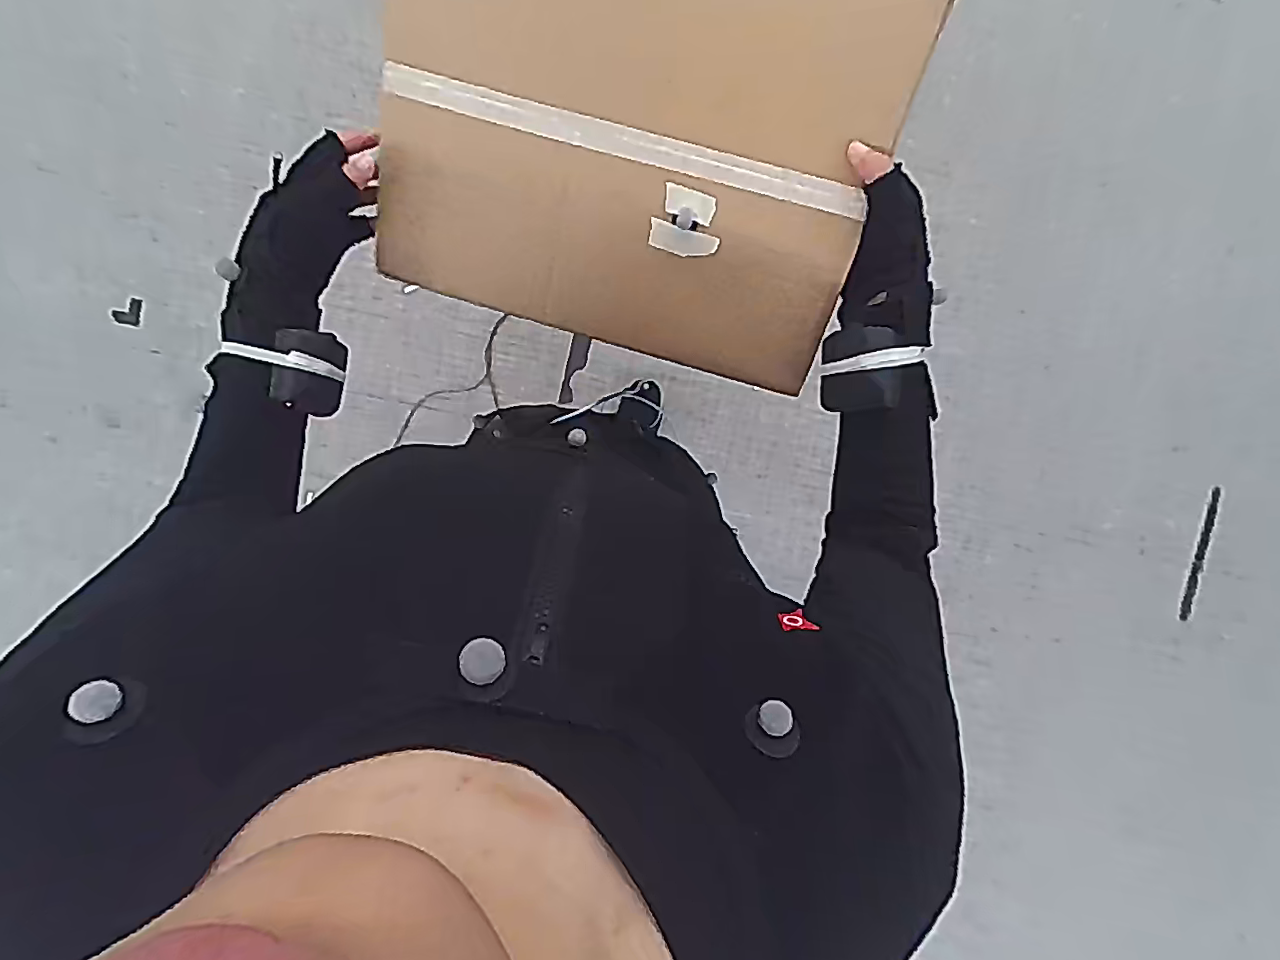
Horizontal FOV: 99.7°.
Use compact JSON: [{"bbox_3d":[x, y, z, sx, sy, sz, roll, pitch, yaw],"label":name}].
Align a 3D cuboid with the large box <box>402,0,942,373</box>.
[{"bbox_3d":[0.019,-0.340,0.585,0.408,0.320,0.320,17,114,3],"label":"large box"}]
